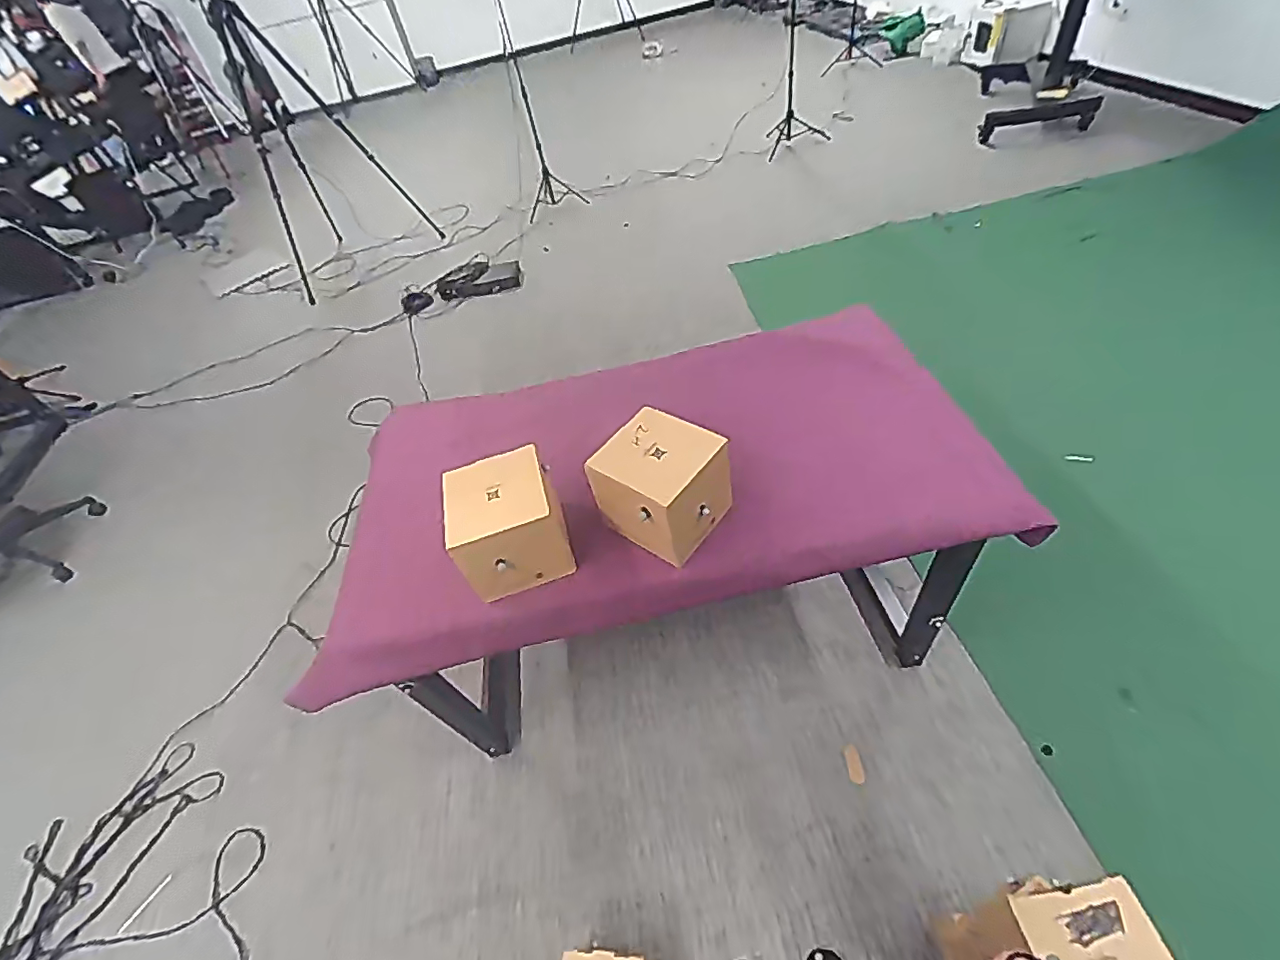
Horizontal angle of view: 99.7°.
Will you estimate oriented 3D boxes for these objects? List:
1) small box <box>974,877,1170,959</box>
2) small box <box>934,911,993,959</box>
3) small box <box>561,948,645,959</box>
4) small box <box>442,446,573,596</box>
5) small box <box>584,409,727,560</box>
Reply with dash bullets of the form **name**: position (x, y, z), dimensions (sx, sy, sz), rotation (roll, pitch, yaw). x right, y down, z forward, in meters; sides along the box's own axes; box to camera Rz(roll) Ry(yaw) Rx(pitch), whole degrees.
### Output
- **small box**: position (0.607, 0.680, 0.751), dimensions (0.168, 0.176, 0.179), rotation (-12, 49, 1)
- **small box**: position (0.662, 0.901, 0.988), dimensions (0.179, 0.176, 0.168), rotation (-6, 48, 8)
- **small box**: position (-0.069, 1.025, 1.038), dimensions (0.168, 0.176, 0.179), rotation (-2, 49, 11)
- **small box**: position (-0.224, 0.078, 0.929), dimensions (0.168, 0.176, 0.179), rotation (-19, 46, -5)
- **small box**: position (0.037, 0.012, 0.928), dimensions (0.179, 0.176, 0.168), rotation (27, 58, 32)
